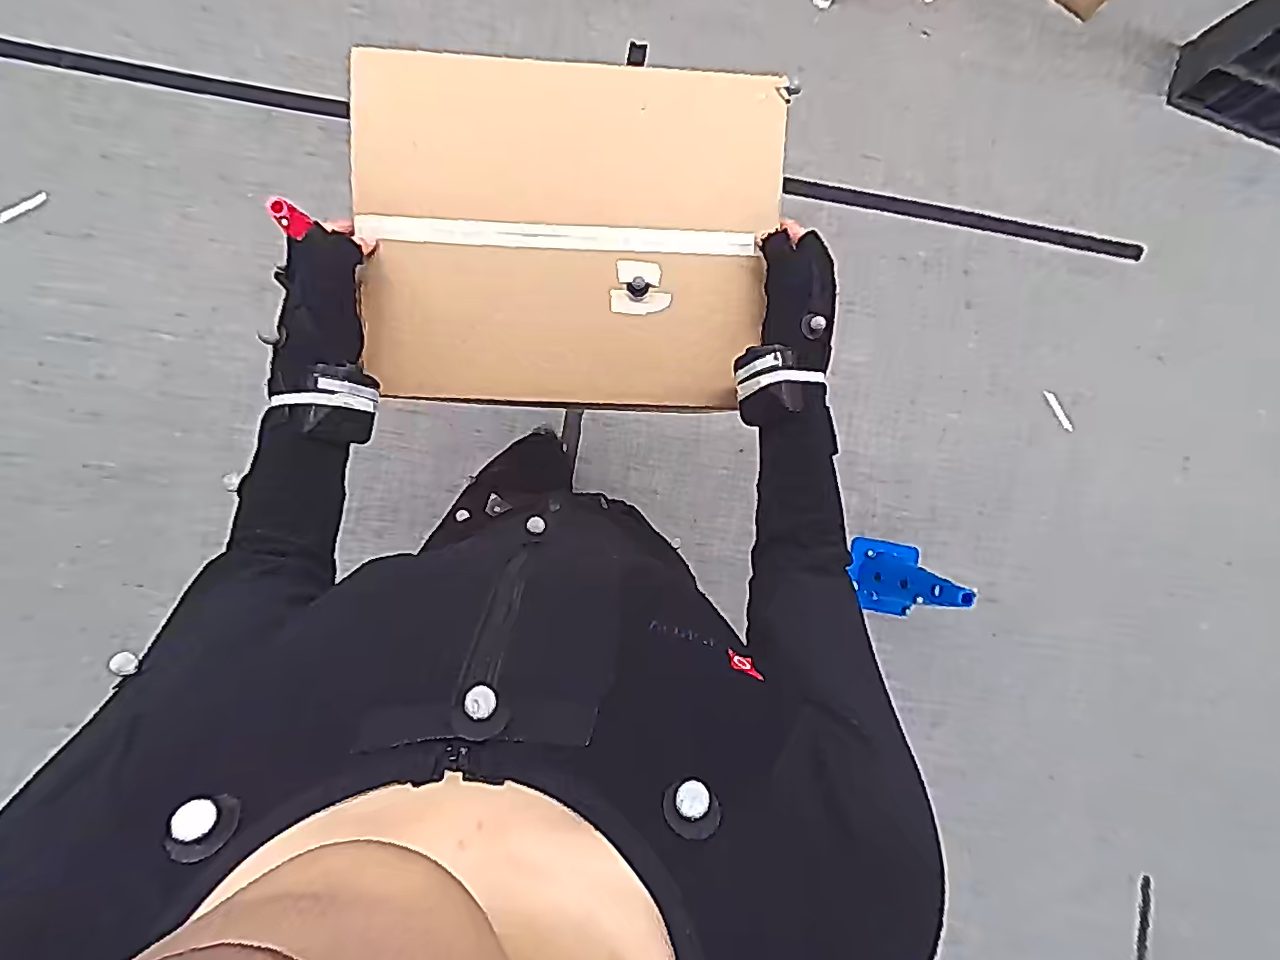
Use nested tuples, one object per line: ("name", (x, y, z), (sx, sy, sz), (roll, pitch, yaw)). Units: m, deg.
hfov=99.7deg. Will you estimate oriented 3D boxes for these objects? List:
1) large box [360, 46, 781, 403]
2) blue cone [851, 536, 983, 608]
("large box", (-0.074, -0.260, 0.672), (0.408, 0.320, 0.320), (2, 97, -4))
("blue cone", (0.708, 0.254, 1.365), (0.192, 0.380, 0.193), (12, 87, -4))
